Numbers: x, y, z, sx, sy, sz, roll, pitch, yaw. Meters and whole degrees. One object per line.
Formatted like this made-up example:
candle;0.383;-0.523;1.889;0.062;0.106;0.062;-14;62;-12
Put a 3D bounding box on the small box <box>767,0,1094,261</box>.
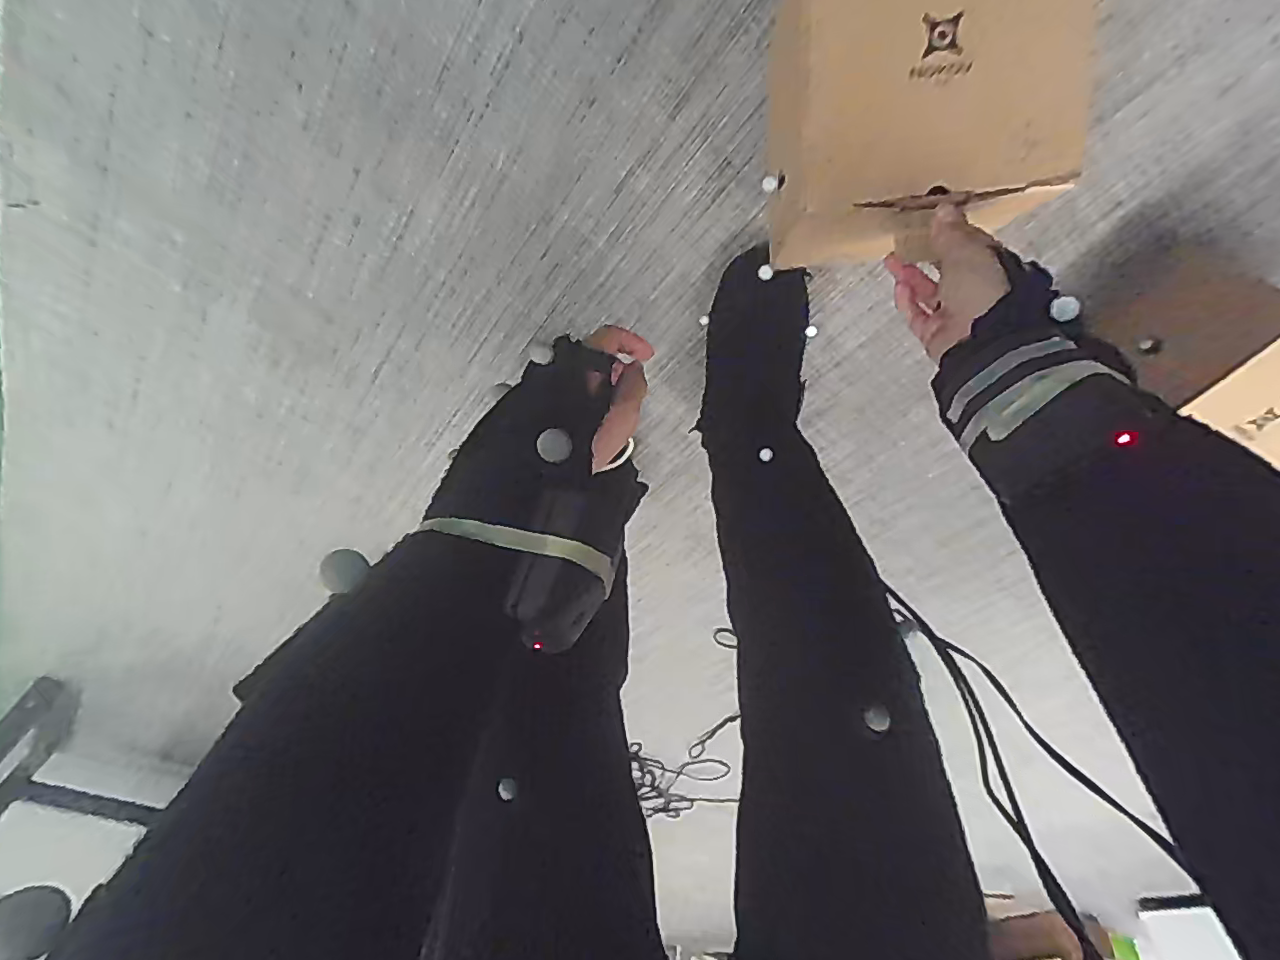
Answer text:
small box;0.188;-0.270;0.398;0.168;0.176;0.179;-2;97;7
